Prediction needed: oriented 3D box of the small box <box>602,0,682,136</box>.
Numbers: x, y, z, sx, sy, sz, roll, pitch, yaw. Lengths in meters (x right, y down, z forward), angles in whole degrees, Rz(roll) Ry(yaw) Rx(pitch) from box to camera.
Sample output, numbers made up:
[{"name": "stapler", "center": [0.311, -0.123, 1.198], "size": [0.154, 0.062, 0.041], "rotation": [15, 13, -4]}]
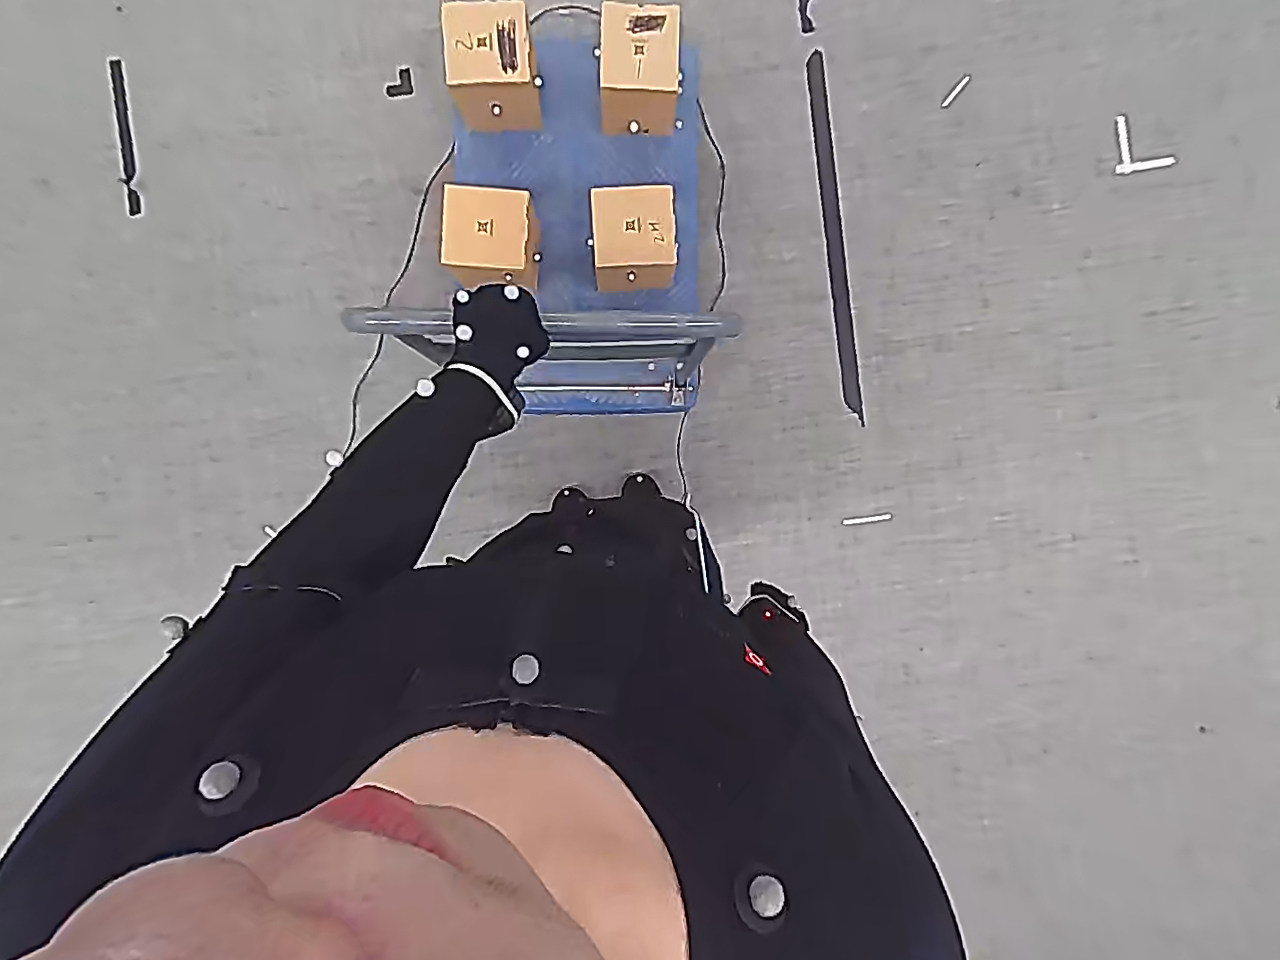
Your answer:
[{"name": "small box", "center": [0.000, -0.905, 1.198], "size": [0.168, 0.176, 0.179], "rotation": [1, 93, -2]}]

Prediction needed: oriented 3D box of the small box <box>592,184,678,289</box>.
[{"name": "small box", "center": [-0.012, -0.536, 1.210], "size": [0.179, 0.176, 0.168], "rotation": [-3, 92, -2]}]

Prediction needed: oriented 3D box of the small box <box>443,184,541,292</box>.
[{"name": "small box", "center": [-0.321, -0.527, 1.199], "size": [0.179, 0.176, 0.168], "rotation": [3, 92, -4]}]
